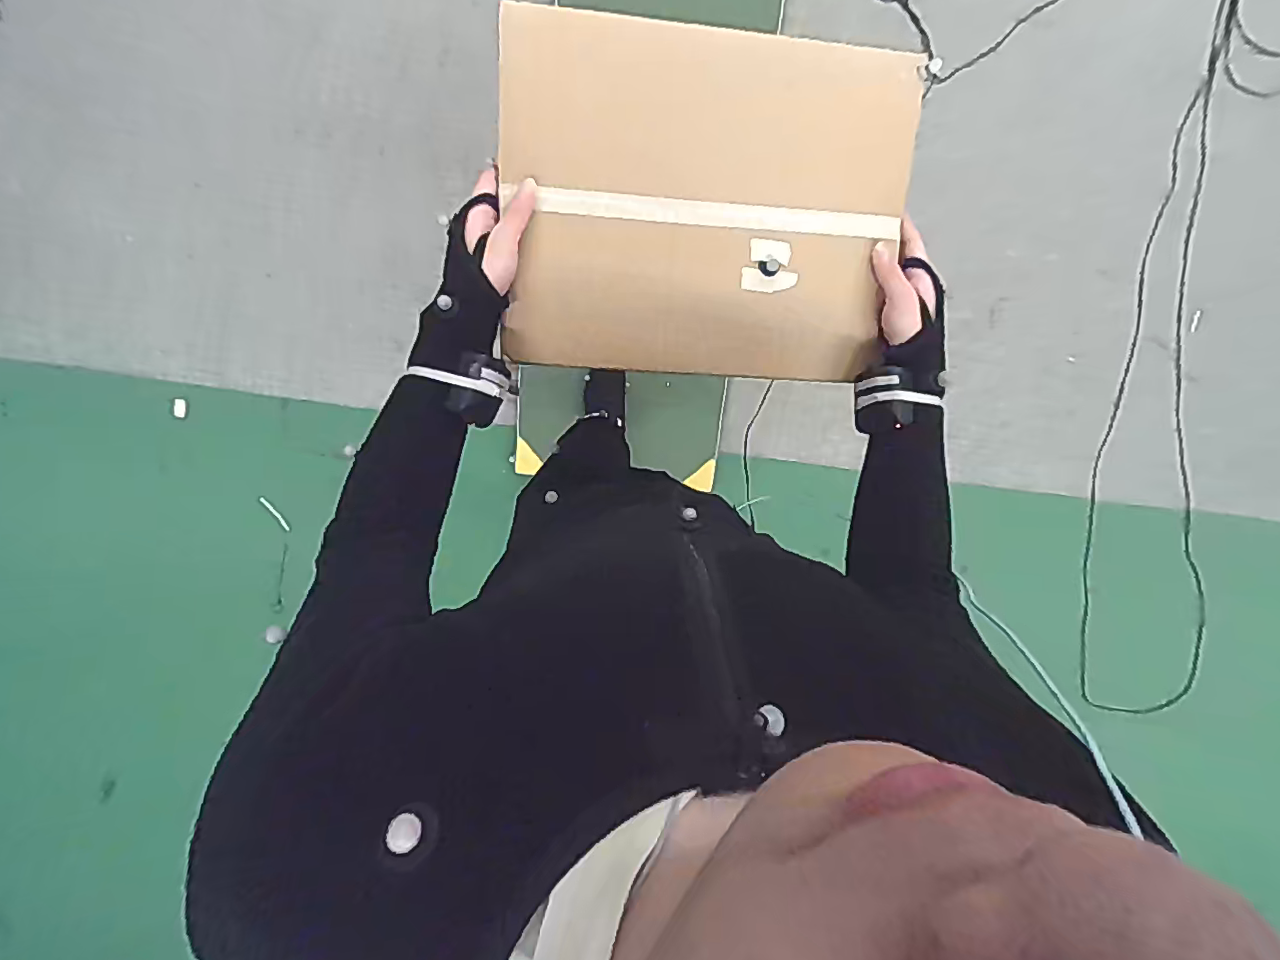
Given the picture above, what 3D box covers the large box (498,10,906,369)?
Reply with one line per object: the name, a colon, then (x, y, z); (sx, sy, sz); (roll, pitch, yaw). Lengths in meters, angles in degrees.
large box: (0.044, -0.311, 0.689); (0.408, 0.320, 0.320); (1, 105, -7)
